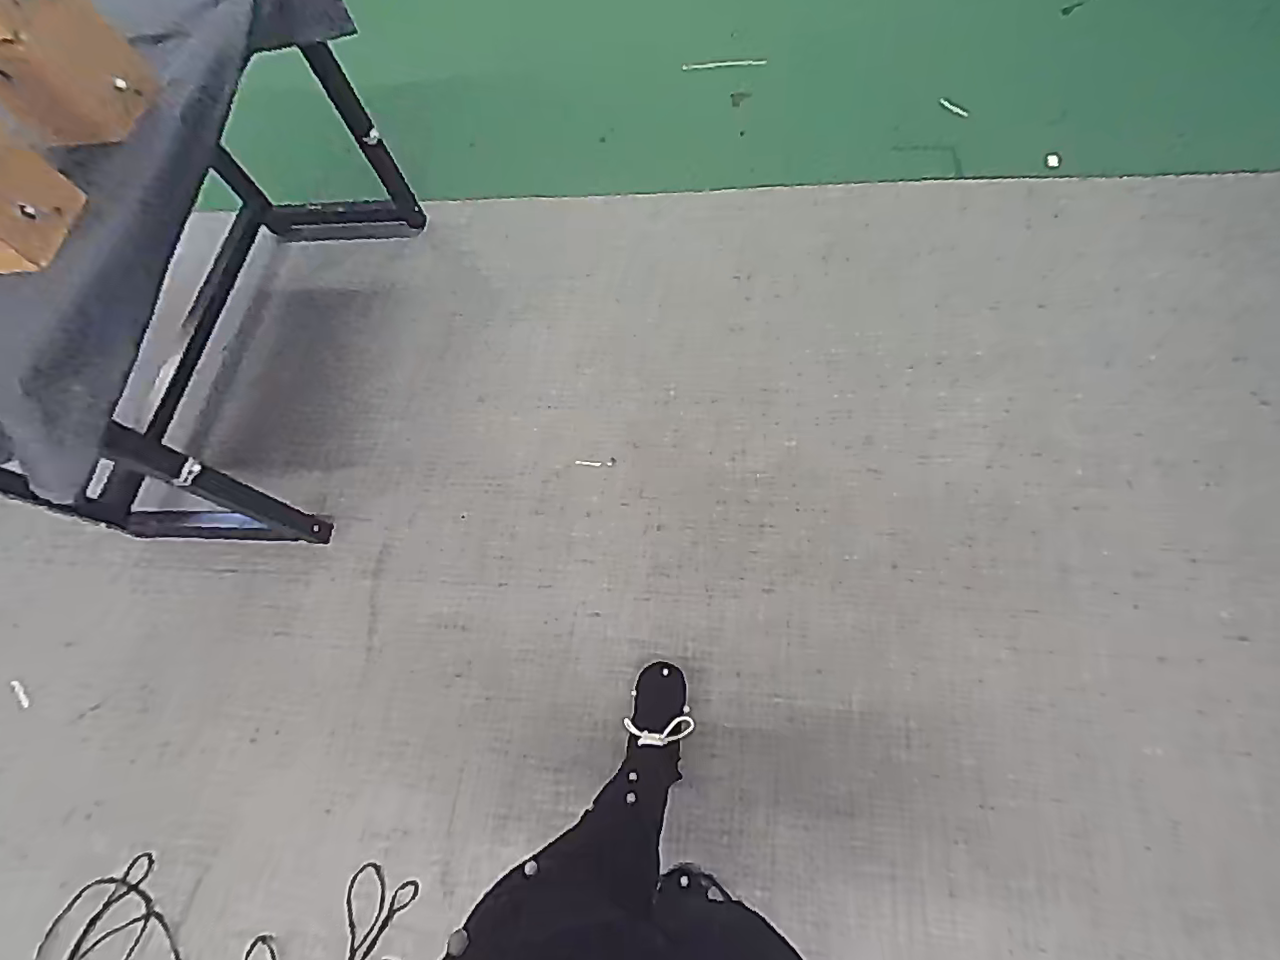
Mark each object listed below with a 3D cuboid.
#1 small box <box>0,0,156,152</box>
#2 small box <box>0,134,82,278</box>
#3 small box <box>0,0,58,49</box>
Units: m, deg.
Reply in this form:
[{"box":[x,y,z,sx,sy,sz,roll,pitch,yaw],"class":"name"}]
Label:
[{"box":[-1.018,-0.702,0.938,0.179,0.176,0.168,0,67,7],"class":"small box"},{"box":[-1.042,-0.426,0.824,0.179,0.176,0.168,-2,66,5],"class":"small box"},{"box":[-1.036,-0.762,0.789,0.179,0.176,0.168,1,68,7],"class":"small box"}]
